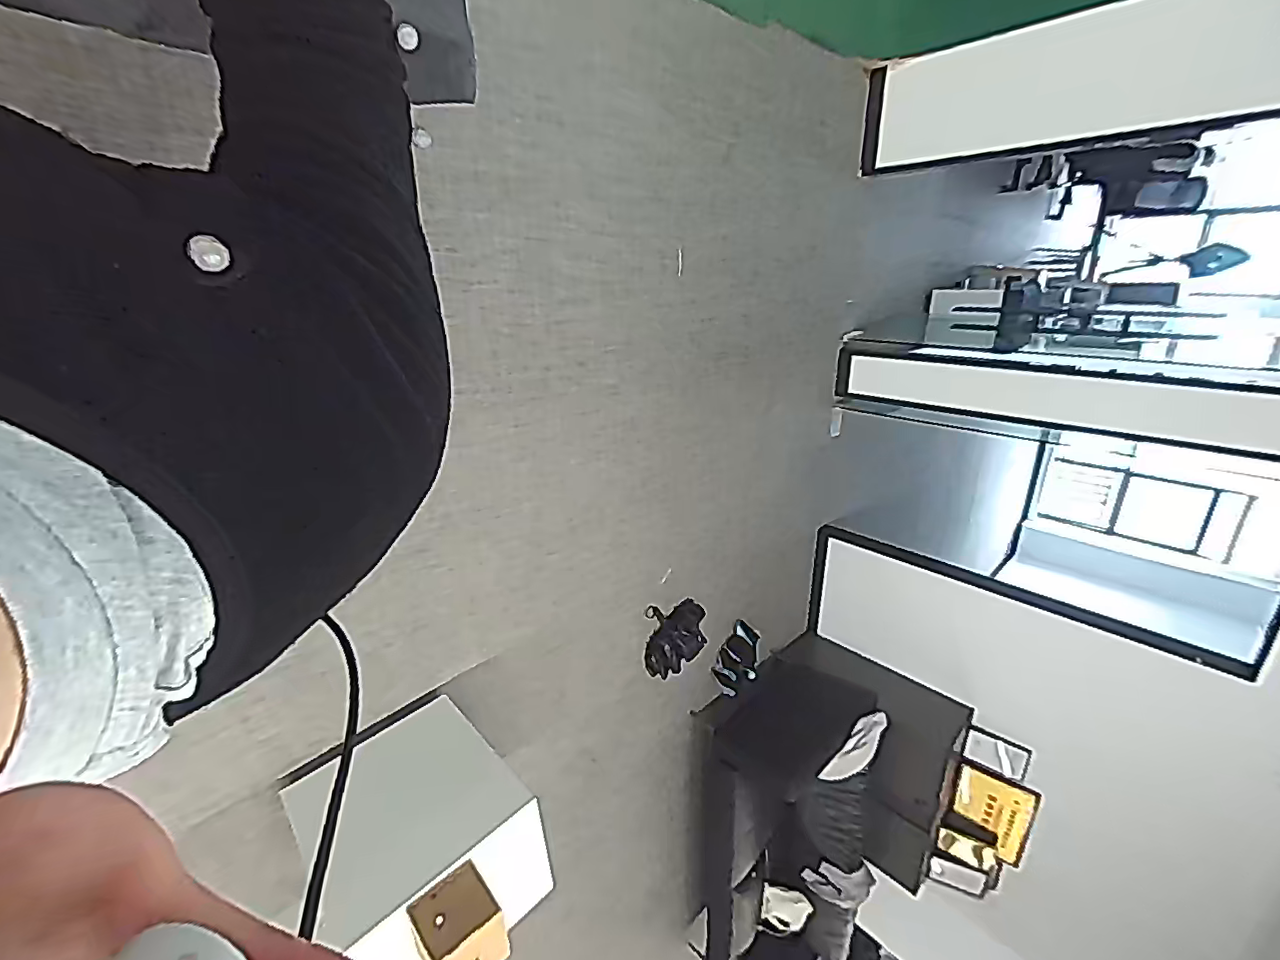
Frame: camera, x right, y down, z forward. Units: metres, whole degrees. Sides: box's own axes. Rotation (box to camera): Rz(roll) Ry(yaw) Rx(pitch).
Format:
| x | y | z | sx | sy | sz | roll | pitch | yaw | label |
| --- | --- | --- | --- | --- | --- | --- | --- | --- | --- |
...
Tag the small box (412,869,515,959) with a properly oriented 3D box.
| x | y | z | sx | sy | sz | roll | pitch | yaw | label |
| --- | --- | --- | --- | --- | --- | --- | --- | --- | --- |
| -0.418 | 1.074 | 1.277 | 0.168 | 0.176 | 0.179 | -21 | 120 | -38 | small box |
